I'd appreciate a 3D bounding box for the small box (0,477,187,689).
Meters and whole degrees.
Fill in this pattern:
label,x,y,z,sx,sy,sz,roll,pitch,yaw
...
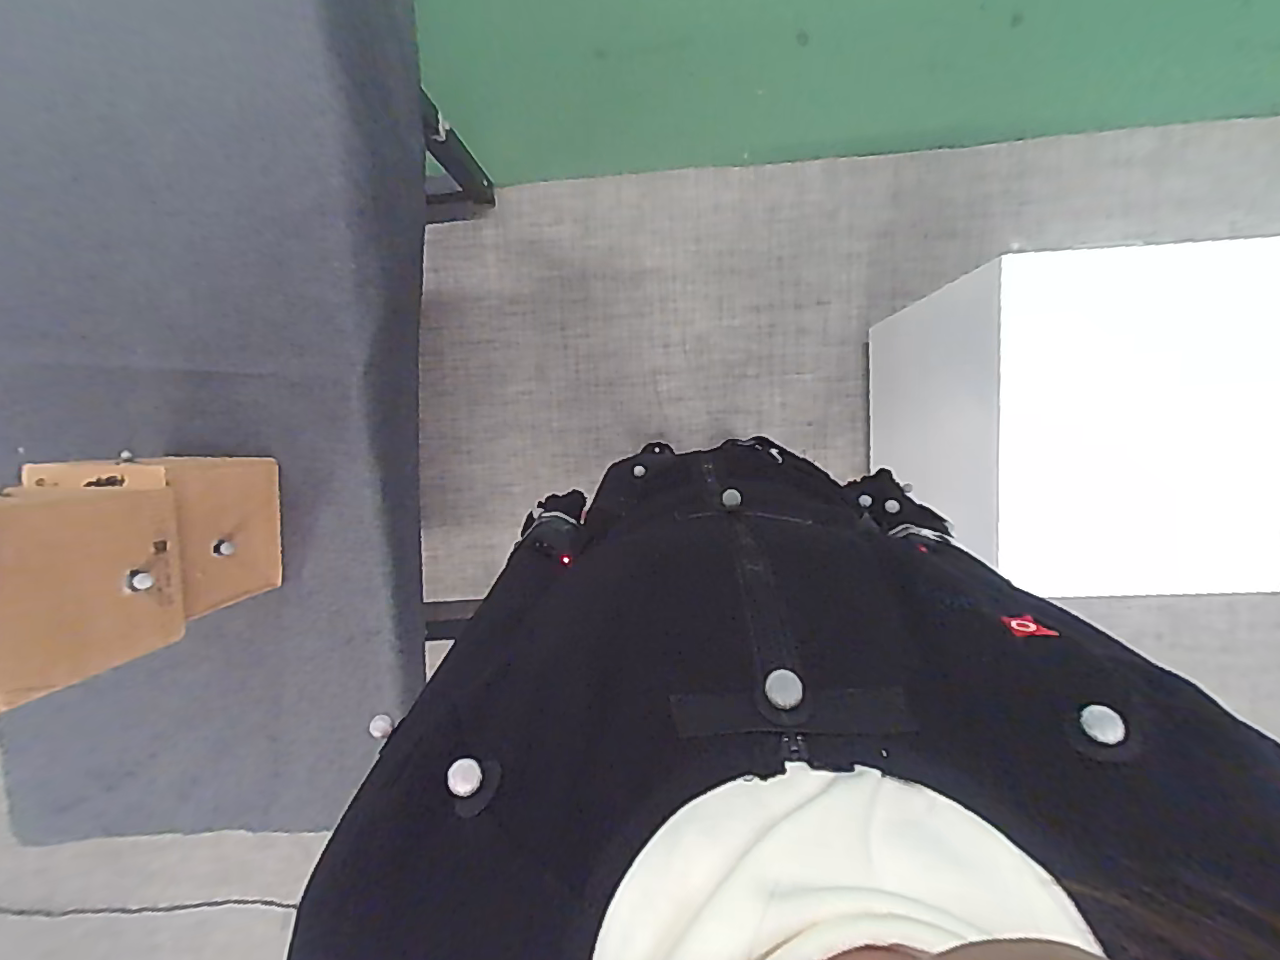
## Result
label,x,y,z,sx,sy,sz,roll,pitch,yaw
small box,-0.588,0.087,0.511,0.179,0.176,0.168,-3,95,6

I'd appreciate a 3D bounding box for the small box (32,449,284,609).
label,x,y,z,sx,sy,sz,roll,pitch,yaw
small box,-0.578,0.055,0.673,0.168,0.176,0.179,1,96,4
